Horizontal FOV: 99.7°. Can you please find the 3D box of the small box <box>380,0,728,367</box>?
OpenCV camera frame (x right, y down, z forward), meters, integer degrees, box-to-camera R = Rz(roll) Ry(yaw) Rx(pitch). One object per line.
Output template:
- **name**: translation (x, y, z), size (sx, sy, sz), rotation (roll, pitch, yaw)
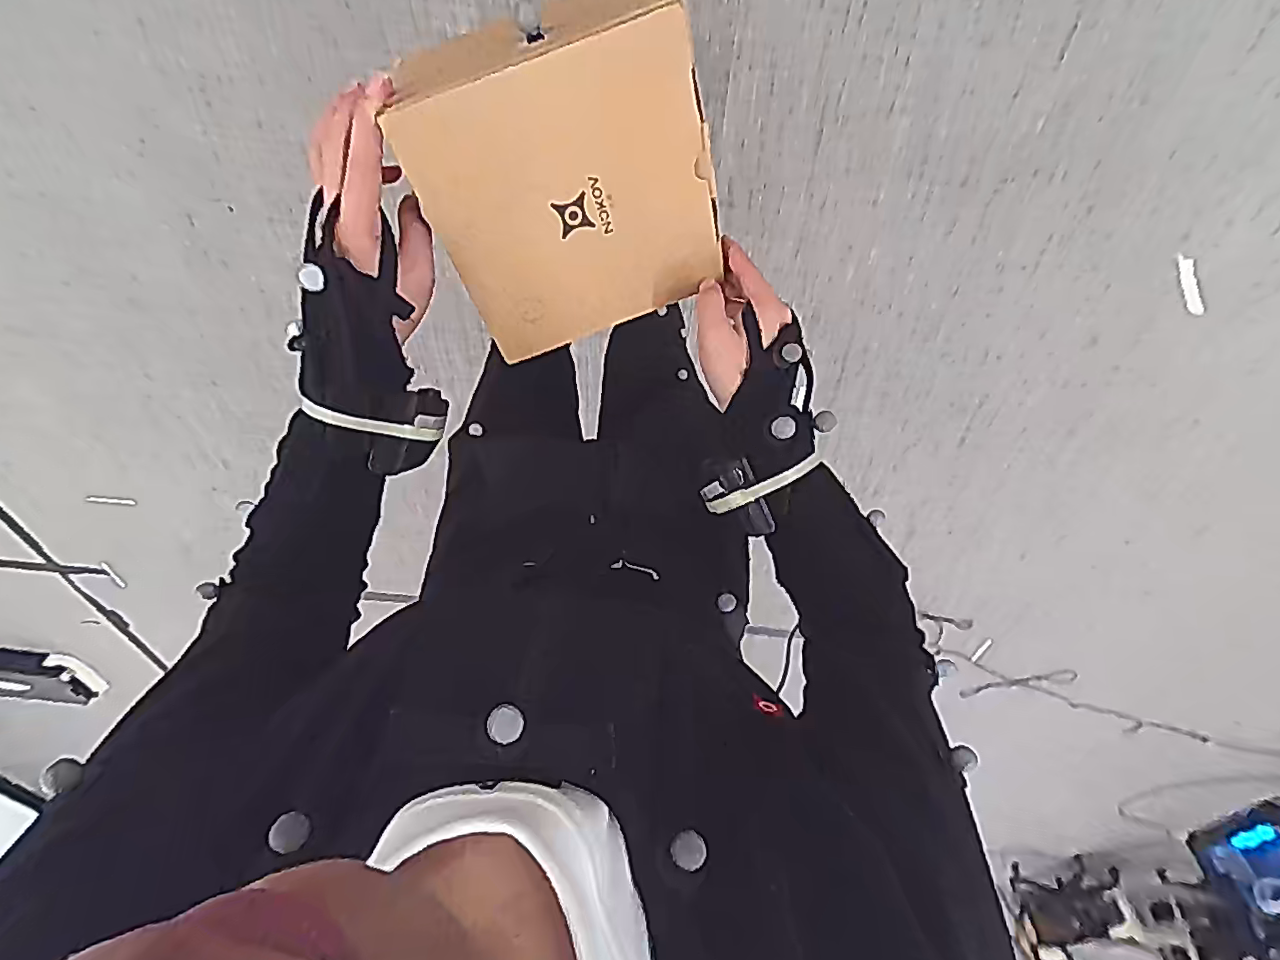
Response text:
- **small box**: translation (-0.056, -0.218, 0.393), size (0.179, 0.176, 0.168), rotation (-22, 137, 1)
